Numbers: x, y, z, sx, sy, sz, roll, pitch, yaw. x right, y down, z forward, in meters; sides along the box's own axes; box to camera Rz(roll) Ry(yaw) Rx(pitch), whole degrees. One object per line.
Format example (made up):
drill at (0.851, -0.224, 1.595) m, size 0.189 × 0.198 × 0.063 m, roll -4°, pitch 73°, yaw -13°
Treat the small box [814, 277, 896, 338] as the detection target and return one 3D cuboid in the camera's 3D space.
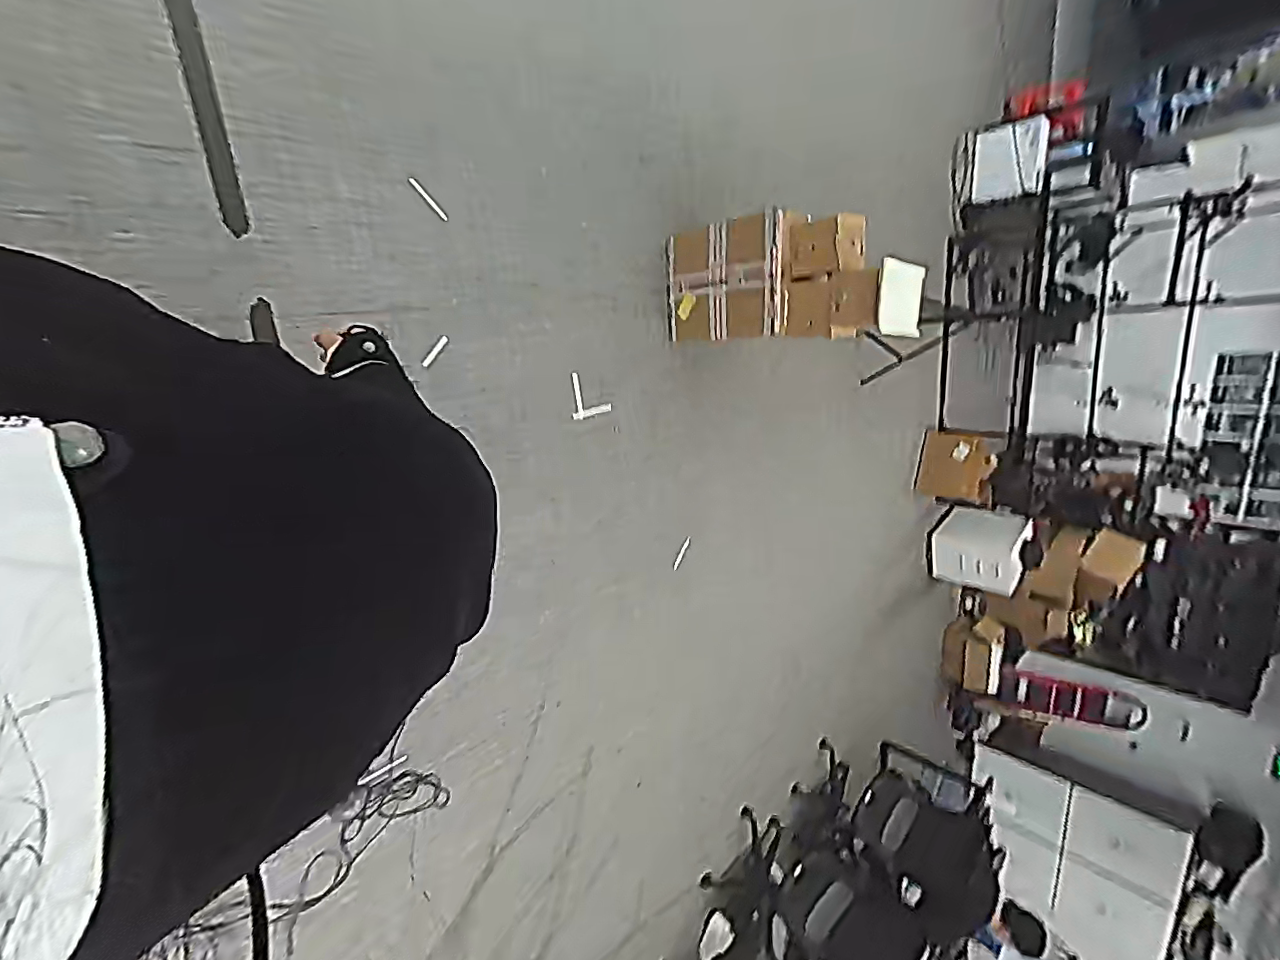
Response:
small box at (0.672, -0.535, 1.694) m, size 0.179 × 0.176 × 0.168 m, roll -11°, pitch 107°, yaw -41°
